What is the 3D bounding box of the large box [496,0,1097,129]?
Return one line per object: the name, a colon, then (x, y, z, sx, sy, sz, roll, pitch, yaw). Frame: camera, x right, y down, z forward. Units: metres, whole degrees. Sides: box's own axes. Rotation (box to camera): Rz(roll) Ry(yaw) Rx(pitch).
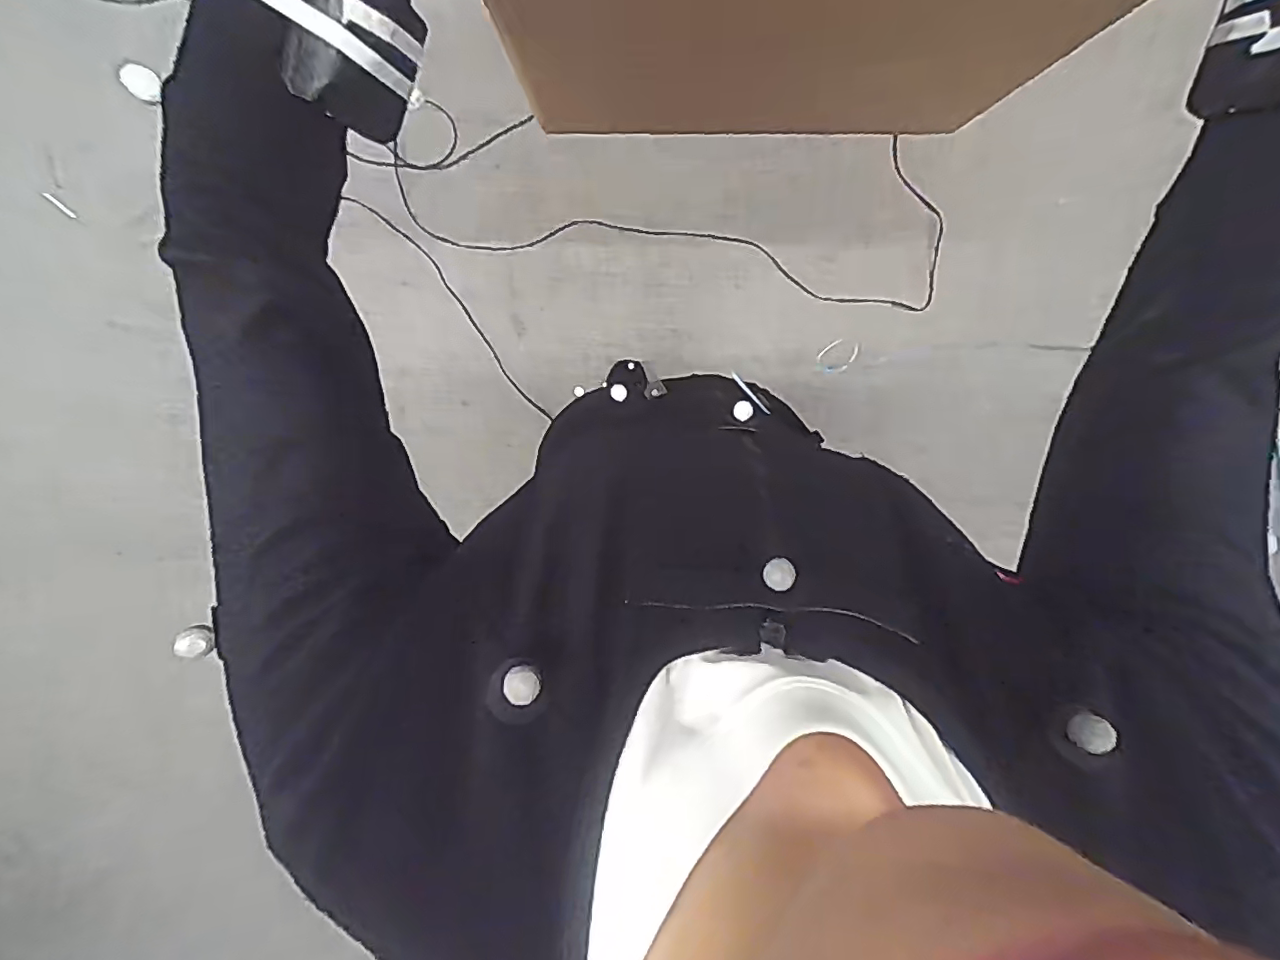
large box: (0.100, -0.460, 0.348, 0.408, 0.320, 0.320, -1, 104, -1)
